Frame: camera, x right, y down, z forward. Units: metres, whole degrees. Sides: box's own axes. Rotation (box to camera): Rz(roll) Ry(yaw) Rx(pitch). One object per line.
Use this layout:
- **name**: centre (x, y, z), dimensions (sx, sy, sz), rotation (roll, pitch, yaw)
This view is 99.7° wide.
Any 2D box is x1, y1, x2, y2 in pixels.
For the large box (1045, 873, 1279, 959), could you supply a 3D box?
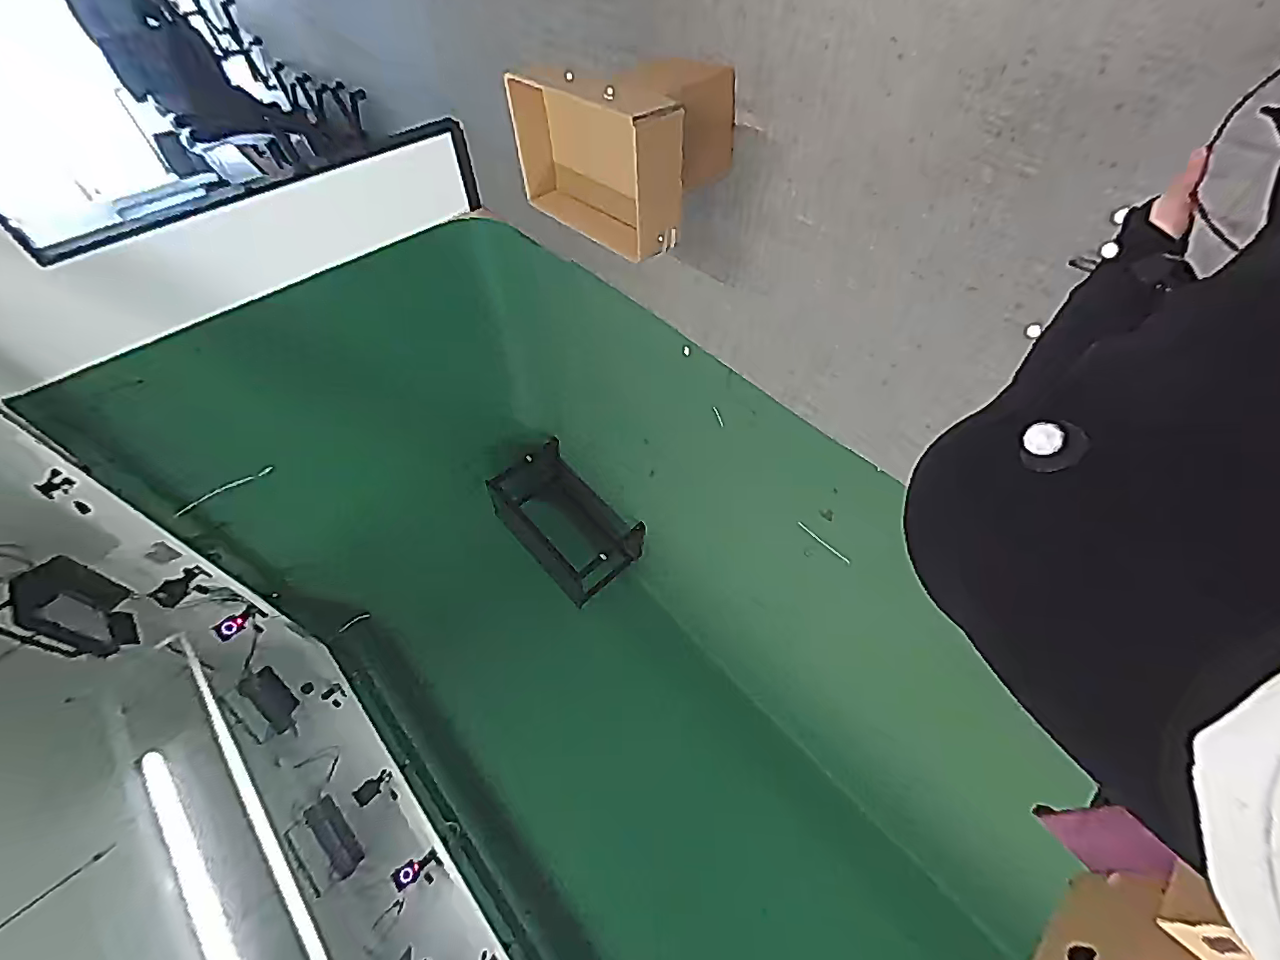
- **large box**: centre (1.195, 1.146, 1.152), dimensions (0.408, 0.320, 0.320), rotation (41, 152, 25)
